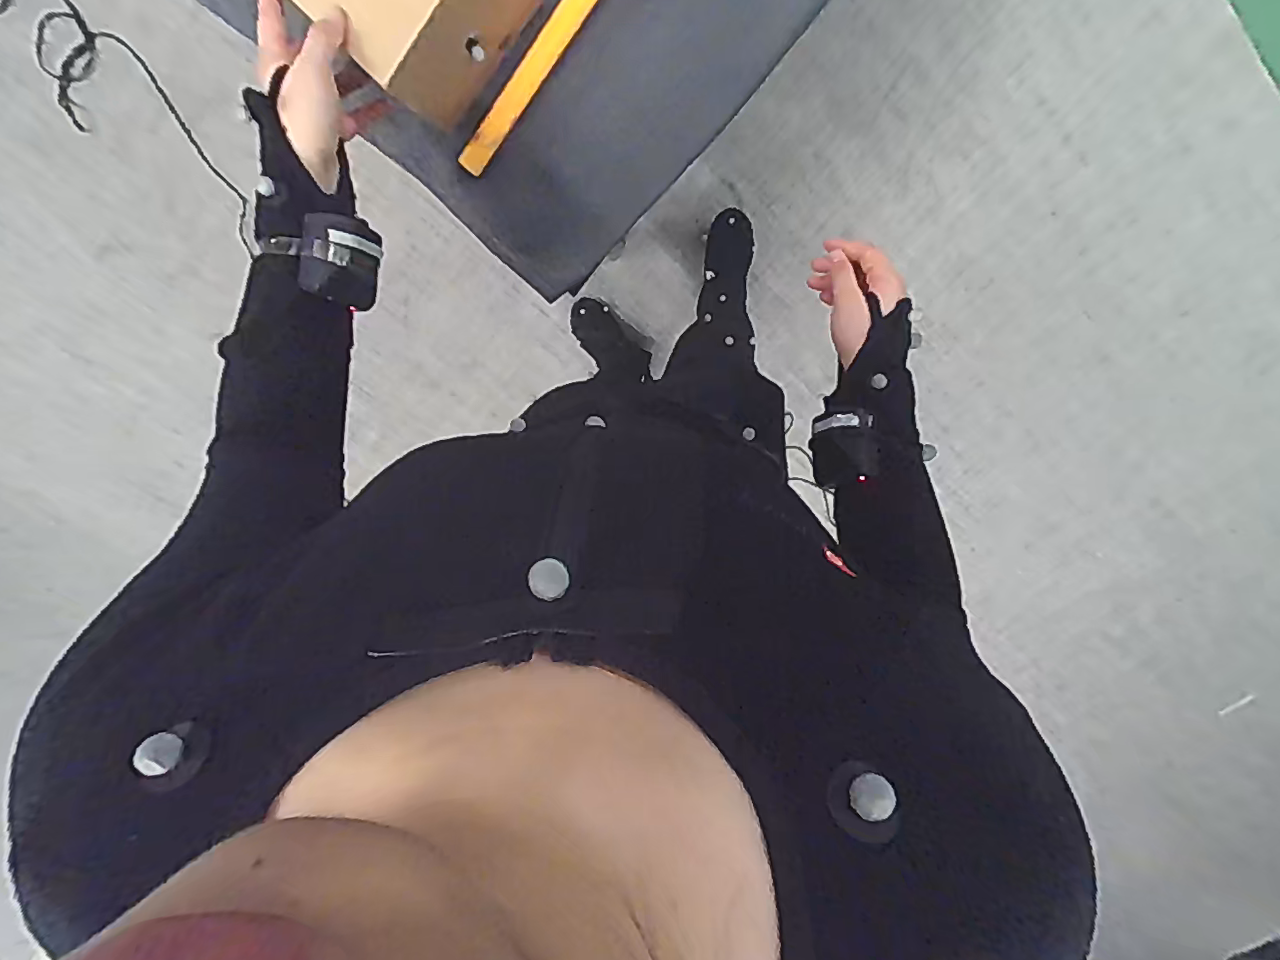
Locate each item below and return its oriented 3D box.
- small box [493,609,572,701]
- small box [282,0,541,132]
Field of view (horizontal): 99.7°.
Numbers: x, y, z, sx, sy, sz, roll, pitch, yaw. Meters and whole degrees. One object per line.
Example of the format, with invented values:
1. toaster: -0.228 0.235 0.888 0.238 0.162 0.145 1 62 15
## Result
1. small box: -0.326 0.535 1.673 0.168 0.176 0.179 35 109 -14
2. small box: -0.208 -0.442 0.471 0.179 0.176 0.168 41 105 -15
